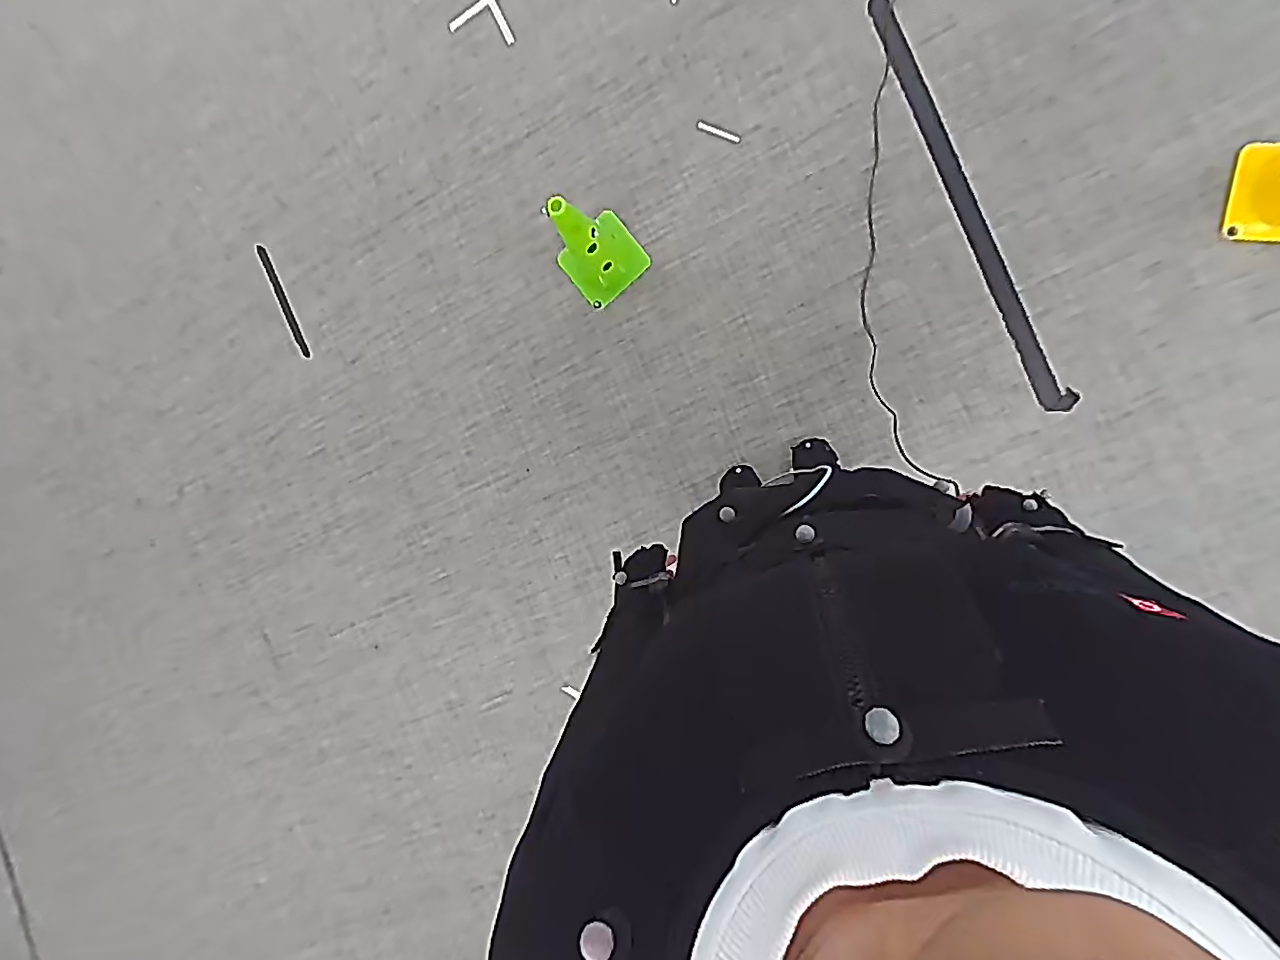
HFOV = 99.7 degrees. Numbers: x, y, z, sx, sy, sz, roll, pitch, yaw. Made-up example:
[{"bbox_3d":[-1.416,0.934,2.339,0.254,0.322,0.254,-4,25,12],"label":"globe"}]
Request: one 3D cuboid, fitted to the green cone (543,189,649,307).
[{"bbox_3d":[-0.139,-0.593,1.299,0.200,0.368,0.202,-40,84,11],"label":"green cone"}]
